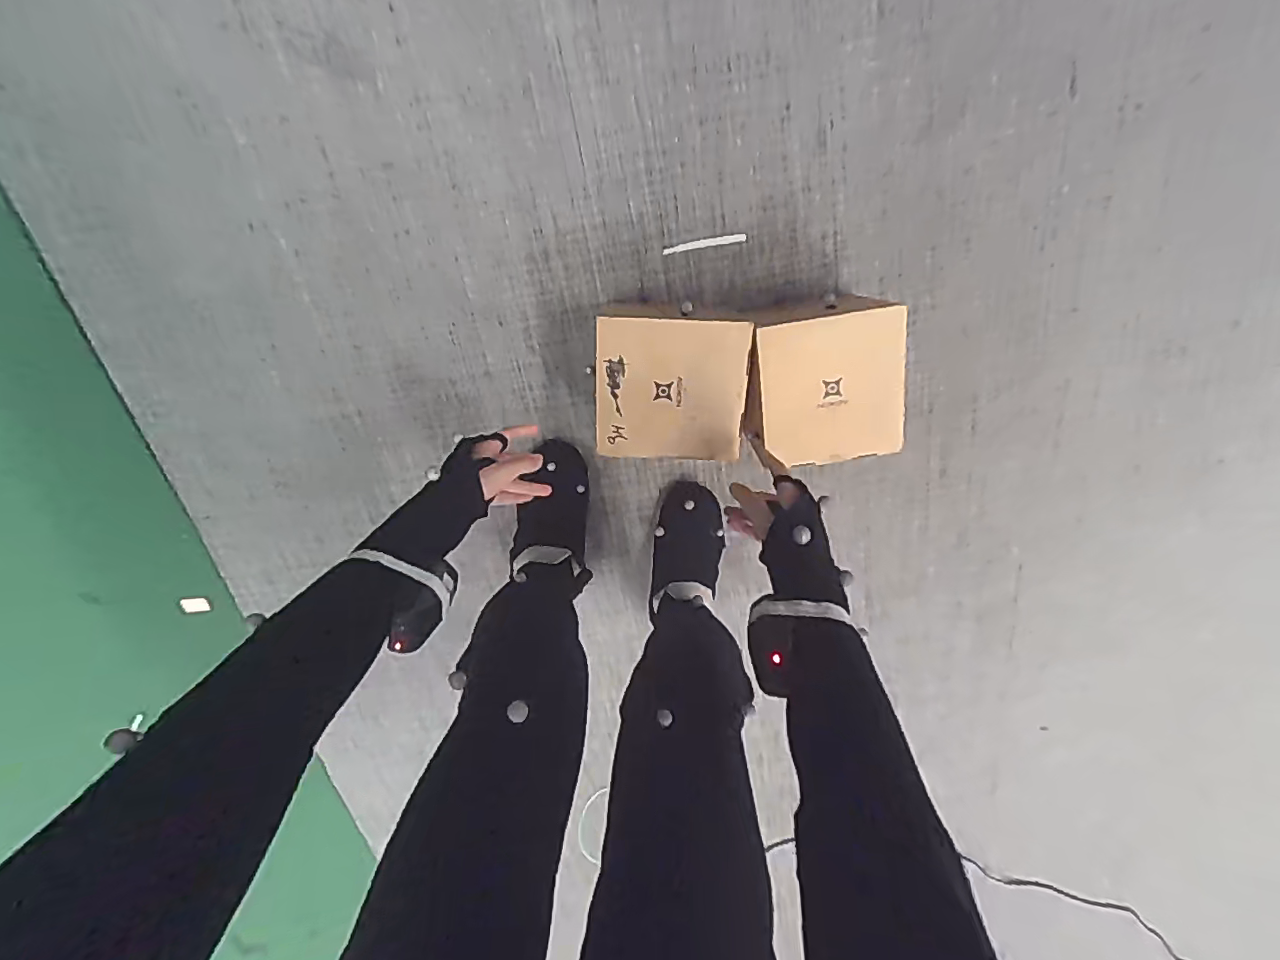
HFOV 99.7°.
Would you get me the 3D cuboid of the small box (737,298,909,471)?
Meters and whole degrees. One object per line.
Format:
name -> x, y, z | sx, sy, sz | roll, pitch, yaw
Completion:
small box -> 0.223, -0.131, 0.693 | 0.168, 0.176, 0.179 | -8, 114, 5
